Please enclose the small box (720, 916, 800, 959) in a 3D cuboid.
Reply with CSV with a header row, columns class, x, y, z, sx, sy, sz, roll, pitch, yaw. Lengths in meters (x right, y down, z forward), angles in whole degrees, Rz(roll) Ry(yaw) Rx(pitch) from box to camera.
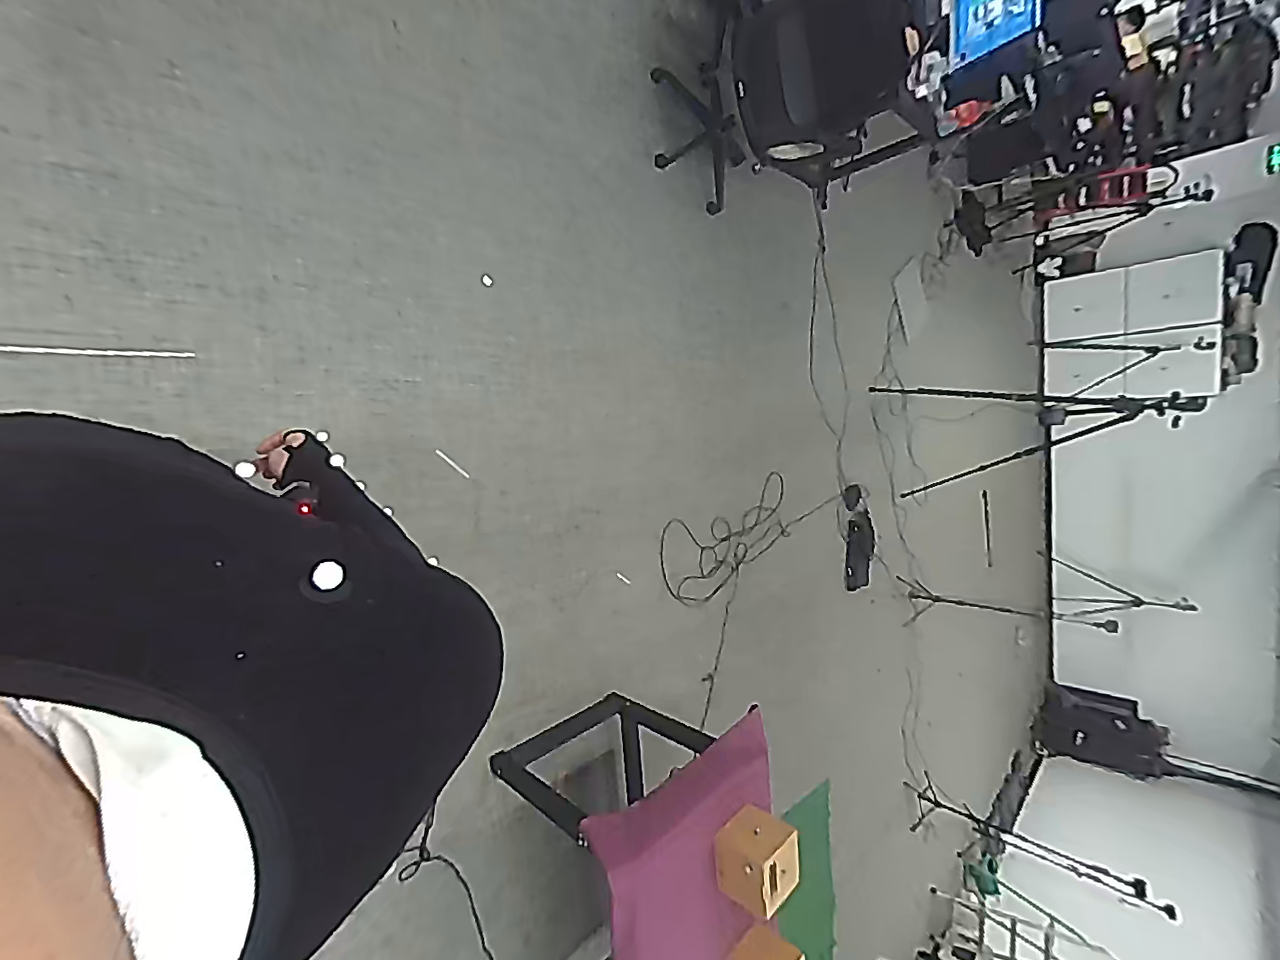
class,x,y,z,sx,sy,sz,roll,pitch,yaw
small box,0.357,1.462,1.604,0.179,0.176,0.168,-9,98,-43
